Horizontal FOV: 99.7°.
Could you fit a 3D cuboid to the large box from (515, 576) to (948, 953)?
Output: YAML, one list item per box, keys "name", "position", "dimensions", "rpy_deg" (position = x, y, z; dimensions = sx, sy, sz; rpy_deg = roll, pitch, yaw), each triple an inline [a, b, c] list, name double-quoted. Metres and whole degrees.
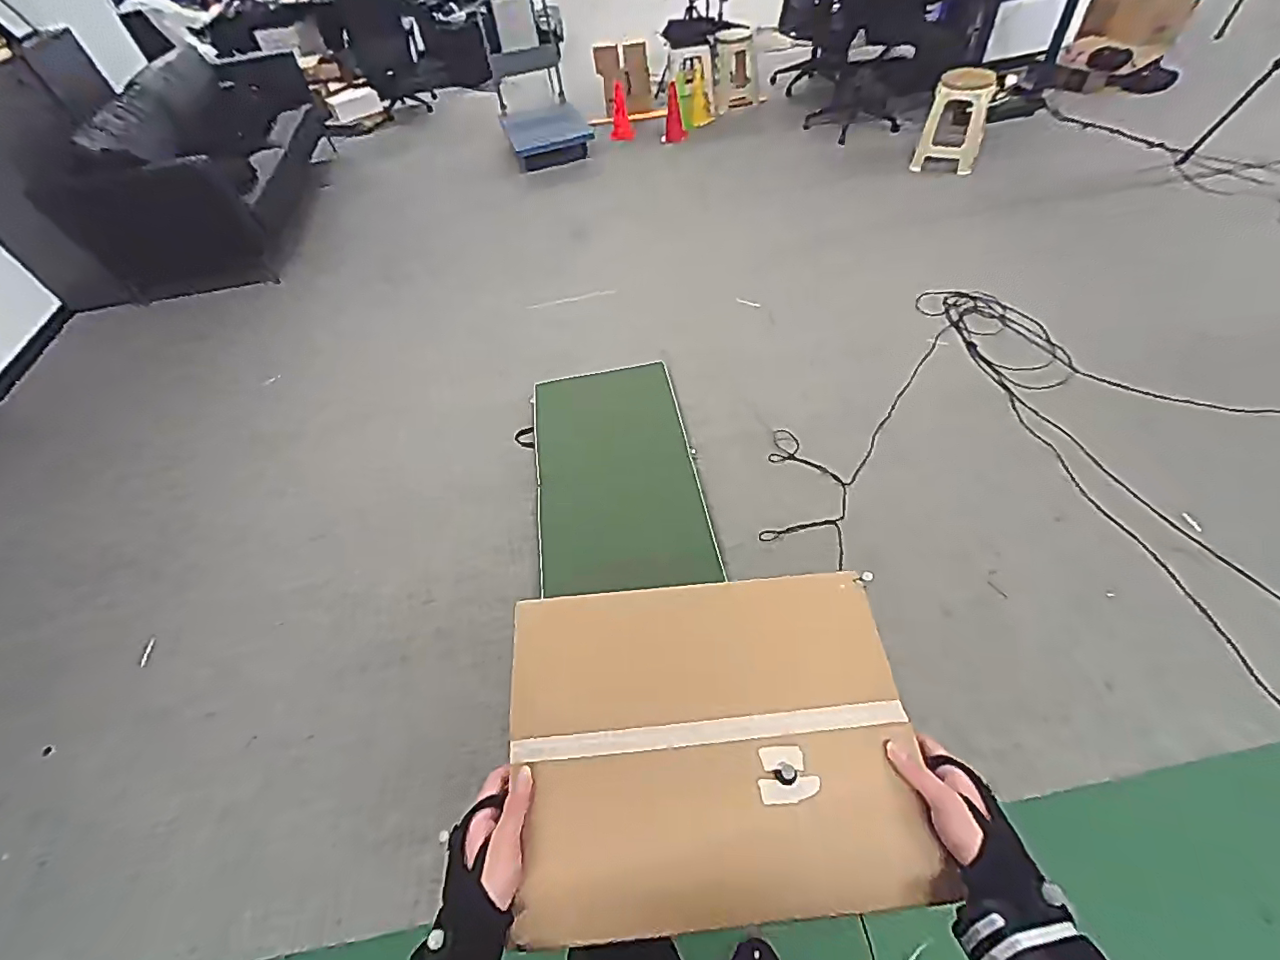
- name: "large box"
  position: [0.071, 0.343, 0.686]
  dimensions: [0.408, 0.320, 0.320]
  rpy_deg: [-5, 59, -3]
